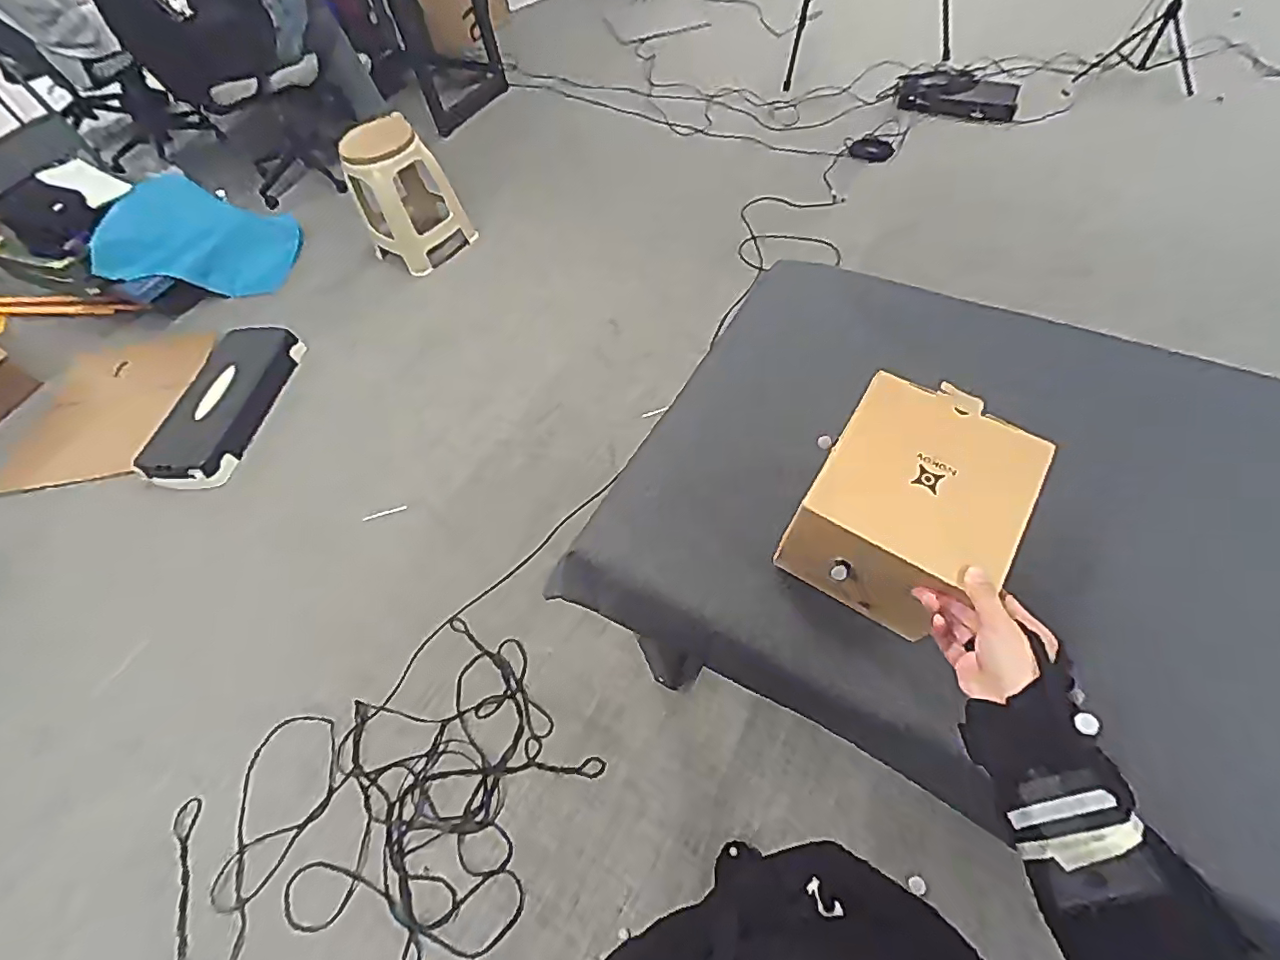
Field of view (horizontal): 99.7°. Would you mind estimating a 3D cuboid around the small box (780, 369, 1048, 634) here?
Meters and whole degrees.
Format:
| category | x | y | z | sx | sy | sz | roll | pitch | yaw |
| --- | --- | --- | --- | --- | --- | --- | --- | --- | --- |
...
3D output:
| category | x | y | z | sx | sy | sz | roll | pitch | yaw |
| --- | --- | --- | --- | --- | --- | --- | --- | --- | --- |
| small box | 0.256 | 0.029 | 0.546 | 0.168 | 0.176 | 0.179 | 29 | 66 | 18 |
